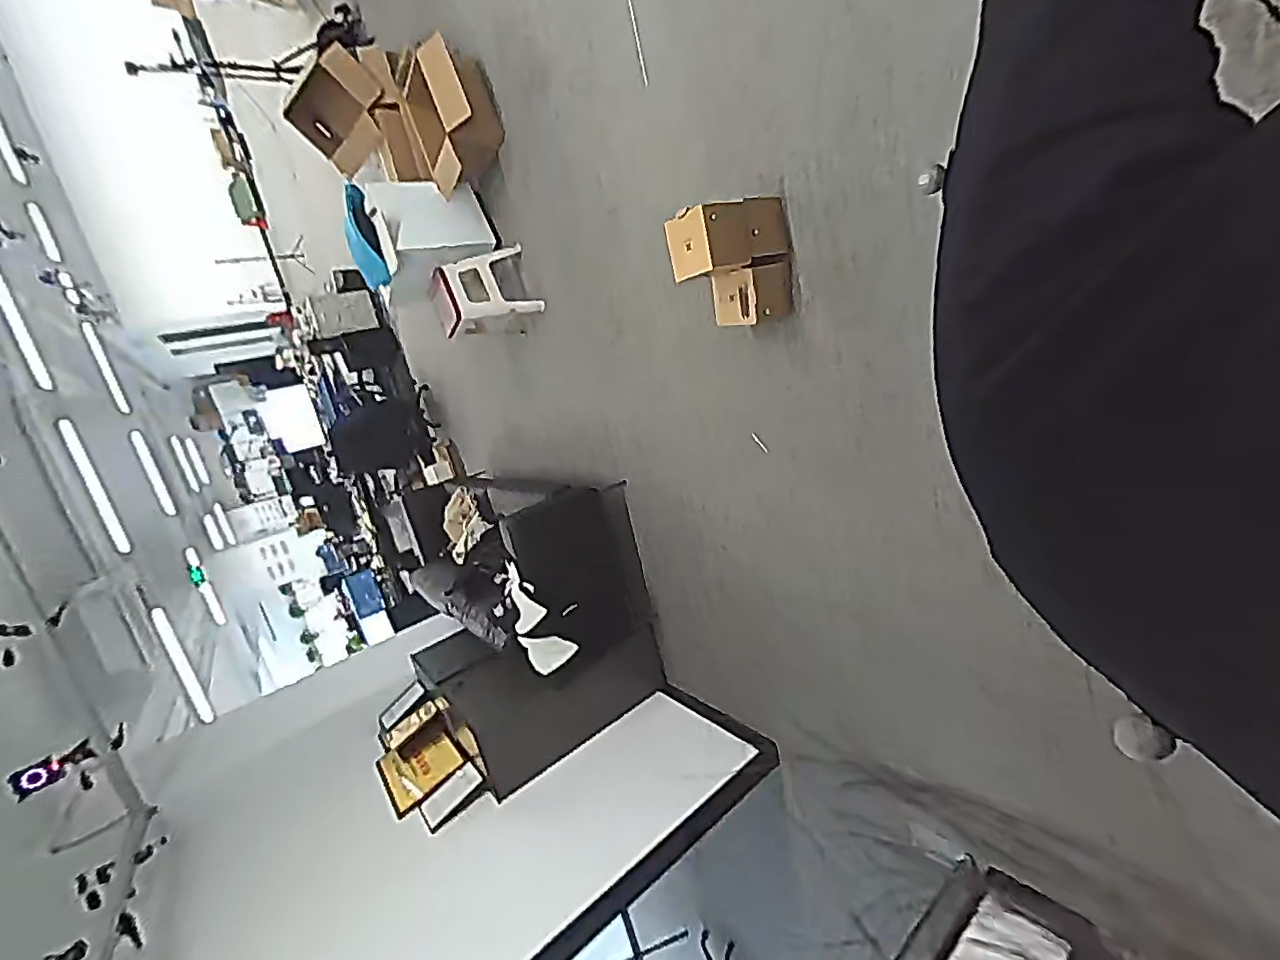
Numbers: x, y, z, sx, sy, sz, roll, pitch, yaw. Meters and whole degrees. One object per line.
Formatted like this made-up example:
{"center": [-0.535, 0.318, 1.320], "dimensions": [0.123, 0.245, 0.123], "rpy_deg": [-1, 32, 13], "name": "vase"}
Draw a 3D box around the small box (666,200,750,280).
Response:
{"center": [0.206, -0.710, 1.601], "dimensions": [0.168, 0.176, 0.179], "rpy_deg": [5, 112, 54], "name": "small box"}
